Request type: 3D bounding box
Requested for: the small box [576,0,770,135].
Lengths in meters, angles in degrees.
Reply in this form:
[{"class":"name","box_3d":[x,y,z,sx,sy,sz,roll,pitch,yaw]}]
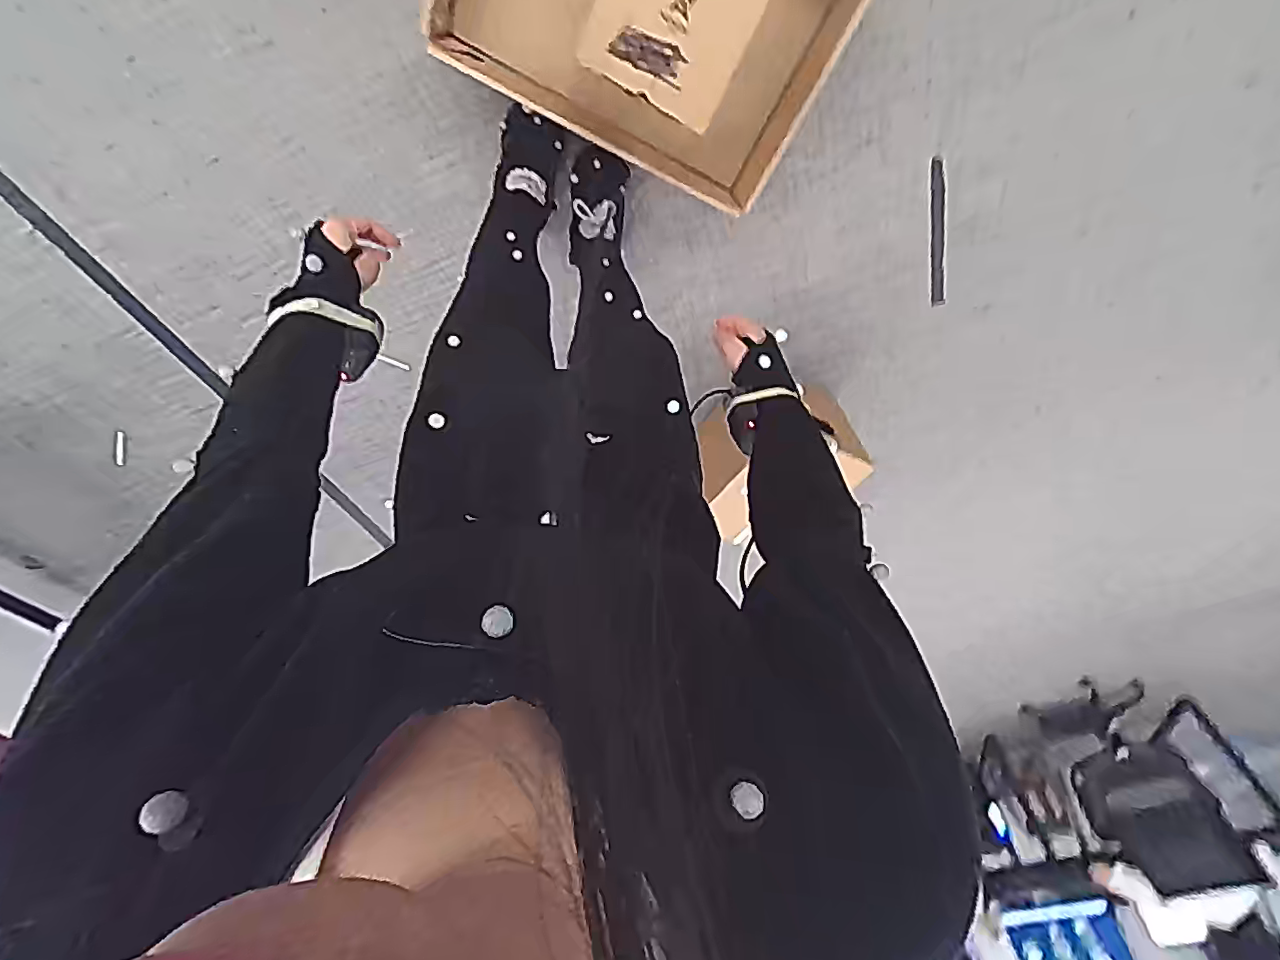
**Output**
[{"class":"small box","box_3d":[0.036,-0.549,0.633,0.168,0.176,0.179,19,127,-21]}]
